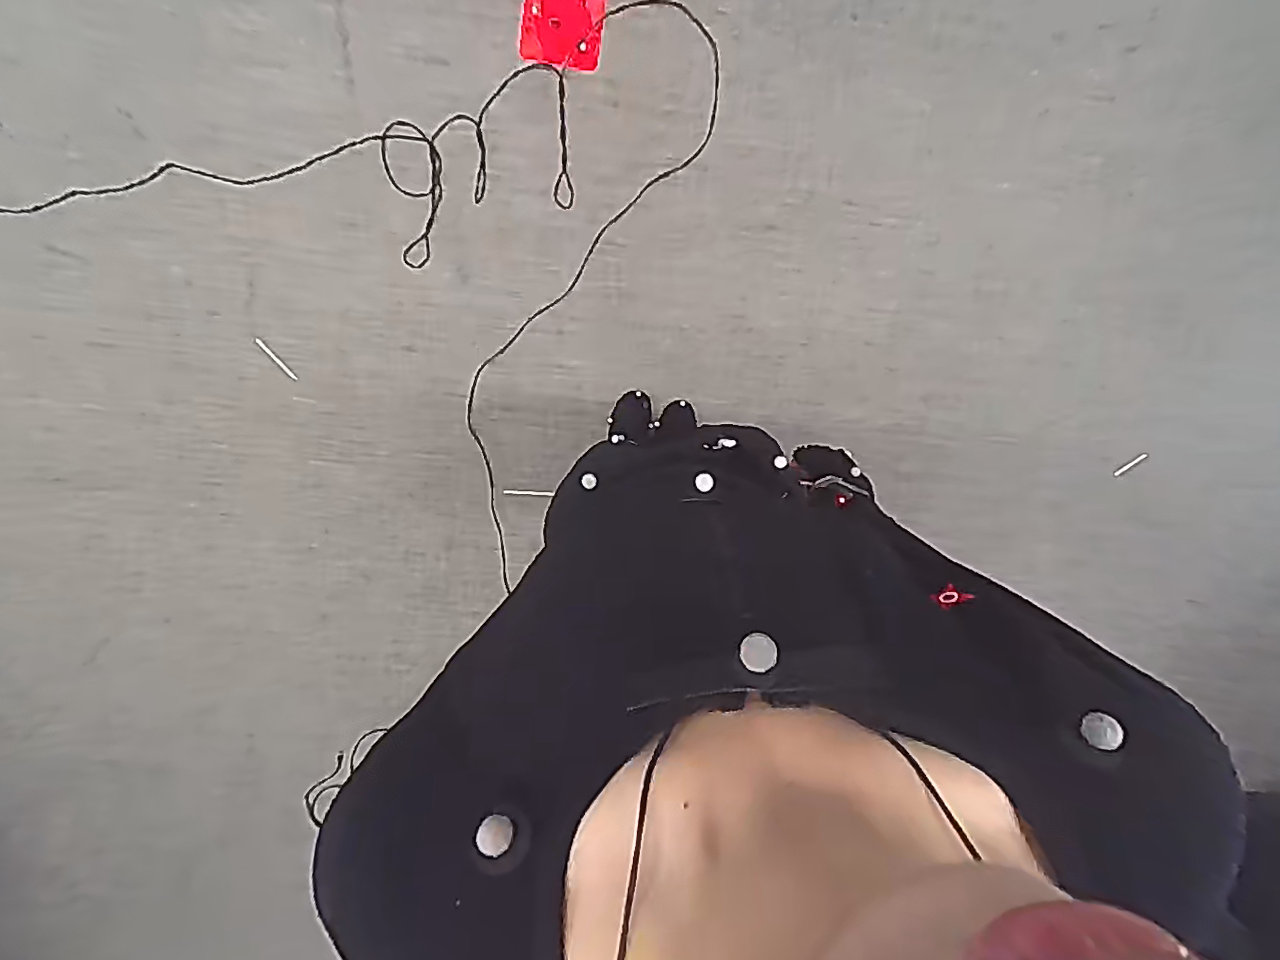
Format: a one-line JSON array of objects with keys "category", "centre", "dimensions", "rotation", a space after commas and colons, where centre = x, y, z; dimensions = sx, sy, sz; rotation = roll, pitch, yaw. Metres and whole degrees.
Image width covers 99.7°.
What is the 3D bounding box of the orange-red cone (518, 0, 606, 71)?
[{"category": "orange-red cone", "centre": [-0.185, -1.101, 1.154], "dimensions": [0.198, 0.360, 0.199], "rotation": [9, 97, -4]}]
